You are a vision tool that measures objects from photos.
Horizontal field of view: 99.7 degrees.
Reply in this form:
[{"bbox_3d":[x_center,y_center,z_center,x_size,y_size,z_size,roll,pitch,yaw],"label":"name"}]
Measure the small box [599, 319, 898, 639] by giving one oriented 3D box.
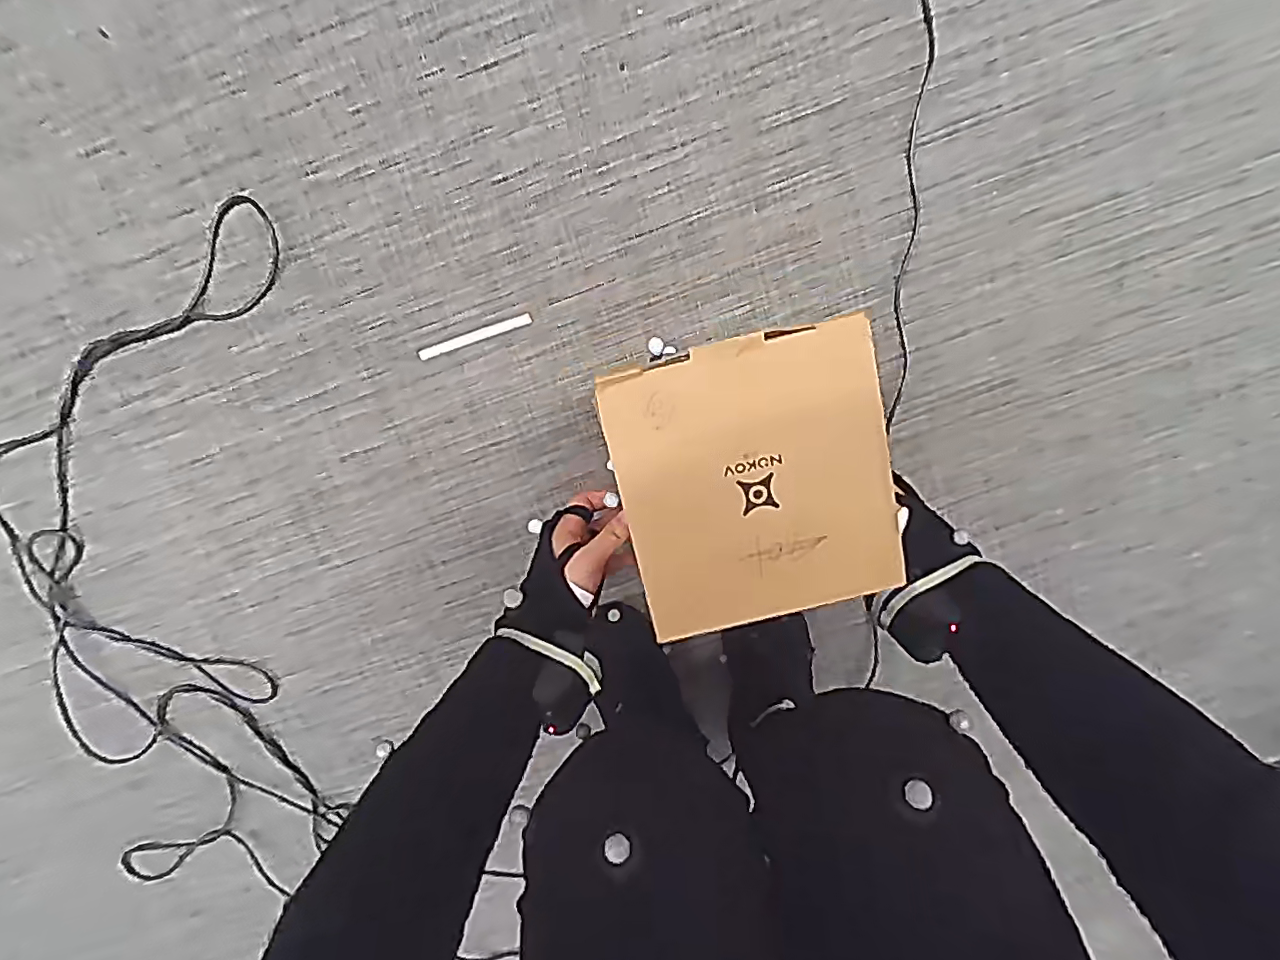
[{"bbox_3d":[0.068,-0.012,0.414,0.168,0.176,0.179,-13,103,2],"label":"small box"}]
